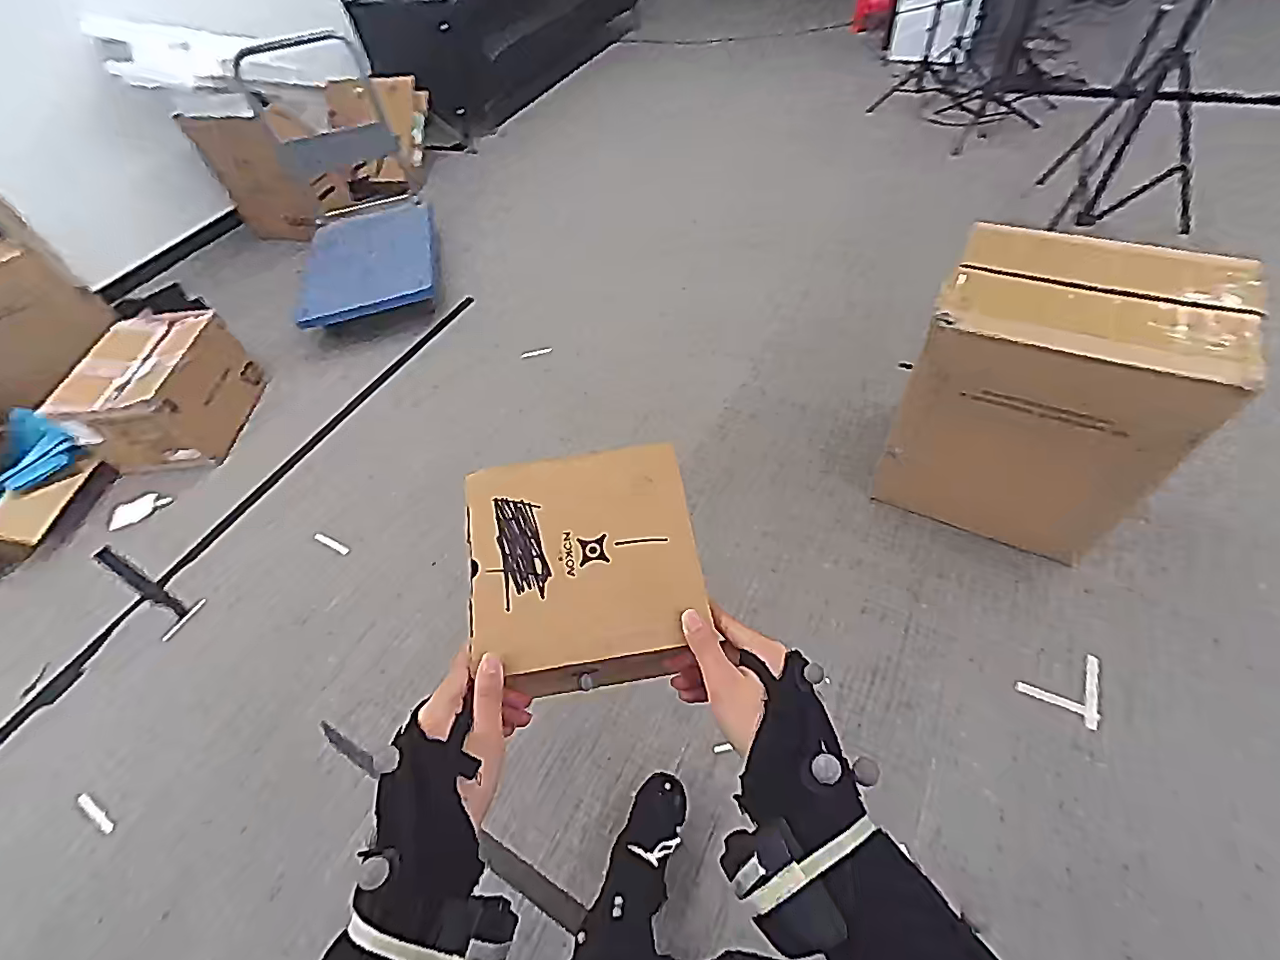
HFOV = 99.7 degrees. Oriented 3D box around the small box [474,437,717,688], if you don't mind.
[{"bbox_3d":[-0.038,0.083,0.488,0.179,0.176,0.168,-8,64,-3],"label":"small box"}]
